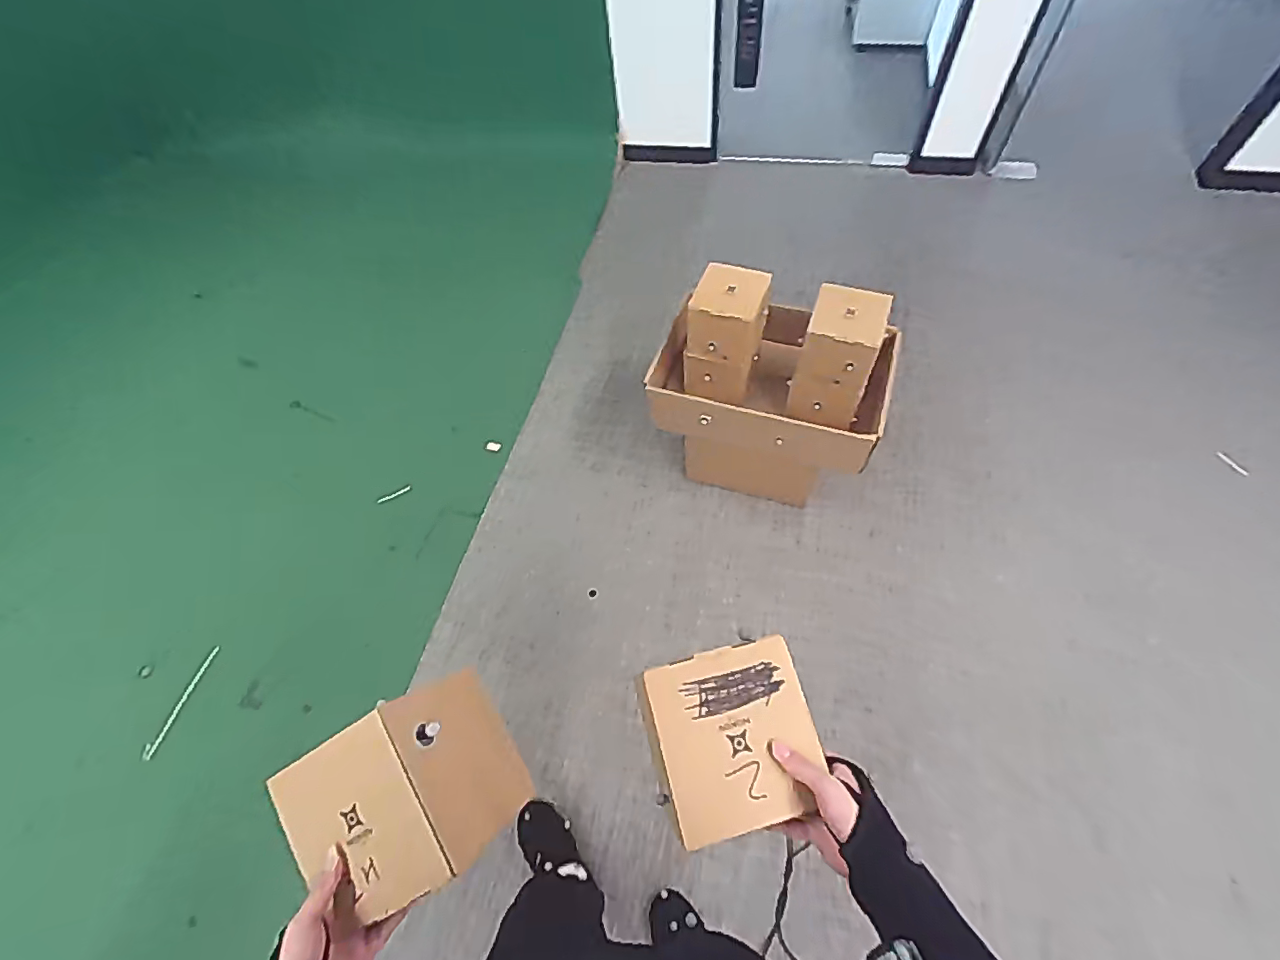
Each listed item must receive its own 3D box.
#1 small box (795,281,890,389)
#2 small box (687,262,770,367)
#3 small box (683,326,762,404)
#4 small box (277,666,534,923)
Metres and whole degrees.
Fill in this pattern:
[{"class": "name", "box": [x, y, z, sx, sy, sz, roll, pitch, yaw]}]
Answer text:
[{"class": "small box", "box": [0.487, -0.348, 1.318, 0.168, 0.176, 0.179, 17, 61, 14]}, {"class": "small box", "box": [0.223, -0.424, 1.395, 0.168, 0.176, 0.179, 17, 62, 15]}, {"class": "small box", "box": [0.232, -0.339, 1.533, 0.179, 0.176, 0.168, 18, 62, 17]}, {"class": "small box", "box": [-0.255, 0.333, 0.616, 0.168, 0.176, 0.179, -34, 78, 13]}]
